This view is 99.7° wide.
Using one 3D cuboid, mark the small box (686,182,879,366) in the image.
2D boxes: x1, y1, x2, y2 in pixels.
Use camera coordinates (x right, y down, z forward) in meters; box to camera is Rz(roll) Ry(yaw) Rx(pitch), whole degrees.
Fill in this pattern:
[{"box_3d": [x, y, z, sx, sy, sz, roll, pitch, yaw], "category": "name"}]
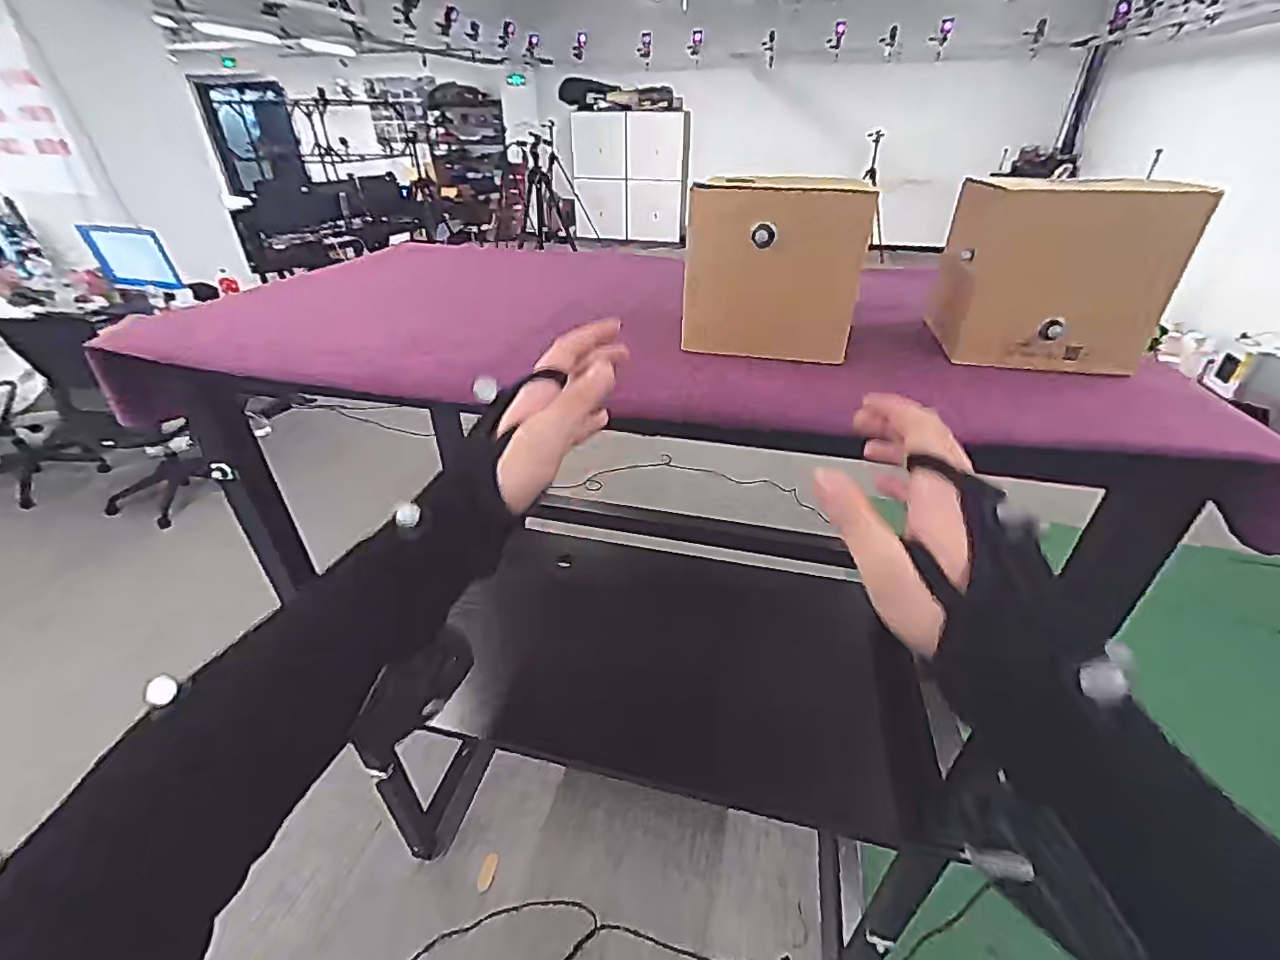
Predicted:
[{"box_3d": [0.152, -0.237, 0.612, 0.179, 0.176, 0.168, 9, 33, 12], "category": "small box"}]
